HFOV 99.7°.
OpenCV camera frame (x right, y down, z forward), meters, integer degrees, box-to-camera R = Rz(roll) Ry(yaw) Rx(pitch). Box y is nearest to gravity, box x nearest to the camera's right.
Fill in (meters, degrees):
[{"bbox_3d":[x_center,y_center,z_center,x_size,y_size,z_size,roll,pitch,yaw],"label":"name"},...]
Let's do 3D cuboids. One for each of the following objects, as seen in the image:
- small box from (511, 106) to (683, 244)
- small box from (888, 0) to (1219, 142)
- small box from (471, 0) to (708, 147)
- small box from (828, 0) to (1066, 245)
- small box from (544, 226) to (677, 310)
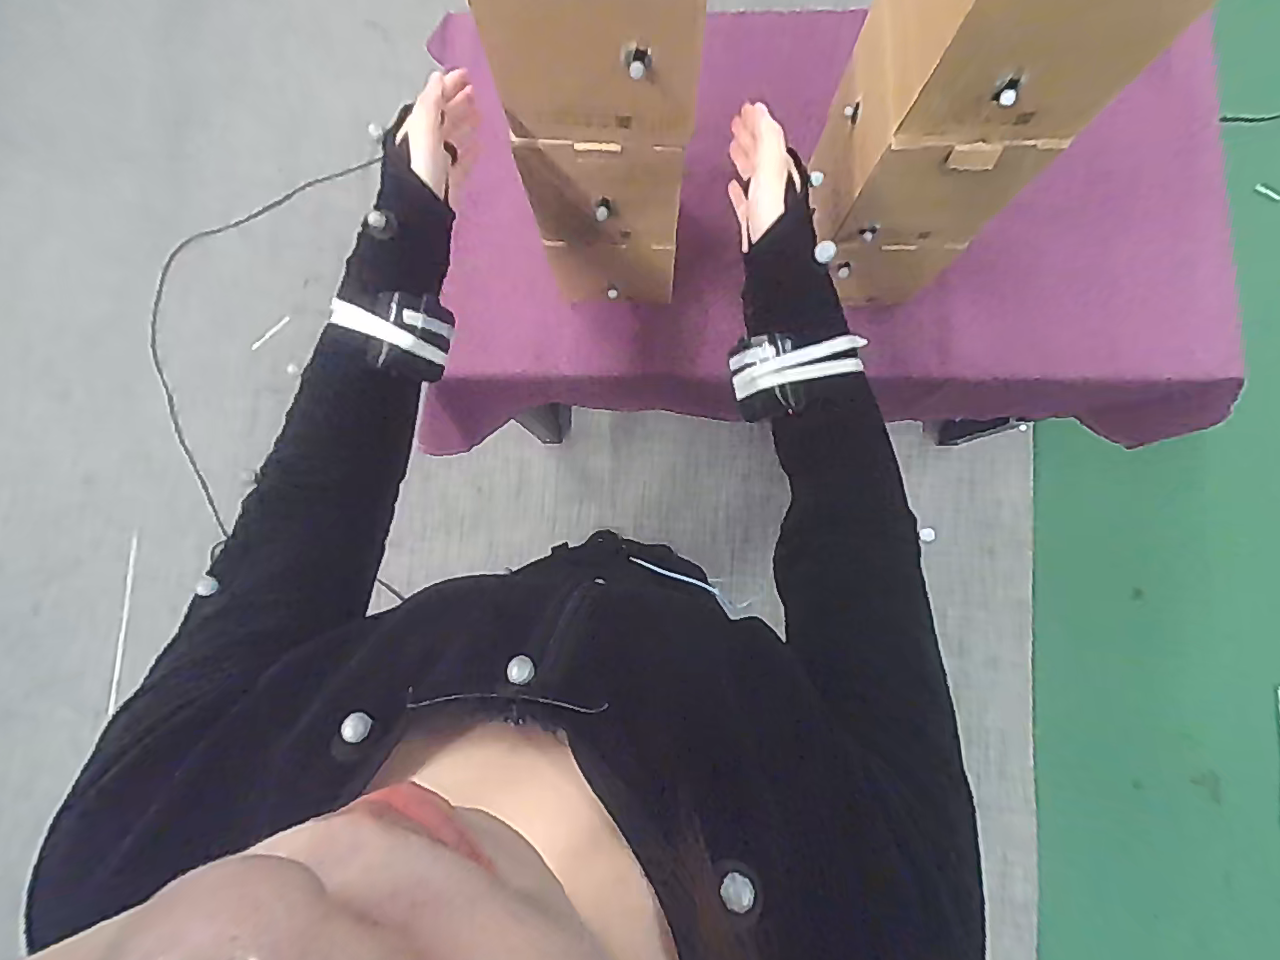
[{"bbox_3d":[-0.035,-0.380,0.590,0.168,0.176,0.179,2,84,0],"label":"small box"},{"bbox_3d":[0.312,-0.404,0.424,0.168,0.176,0.179,0,84,1],"label":"small box"},{"bbox_3d":[-0.028,-0.401,0.428,0.168,0.176,0.179,5,83,1],"label":"small box"},{"bbox_3d":[0.312,-0.376,0.585,0.168,0.176,0.179,1,82,1],"label":"small box"},{"bbox_3d":[-0.033,-0.358,0.753,0.168,0.176,0.179,2,84,2],"label":"small box"}]
